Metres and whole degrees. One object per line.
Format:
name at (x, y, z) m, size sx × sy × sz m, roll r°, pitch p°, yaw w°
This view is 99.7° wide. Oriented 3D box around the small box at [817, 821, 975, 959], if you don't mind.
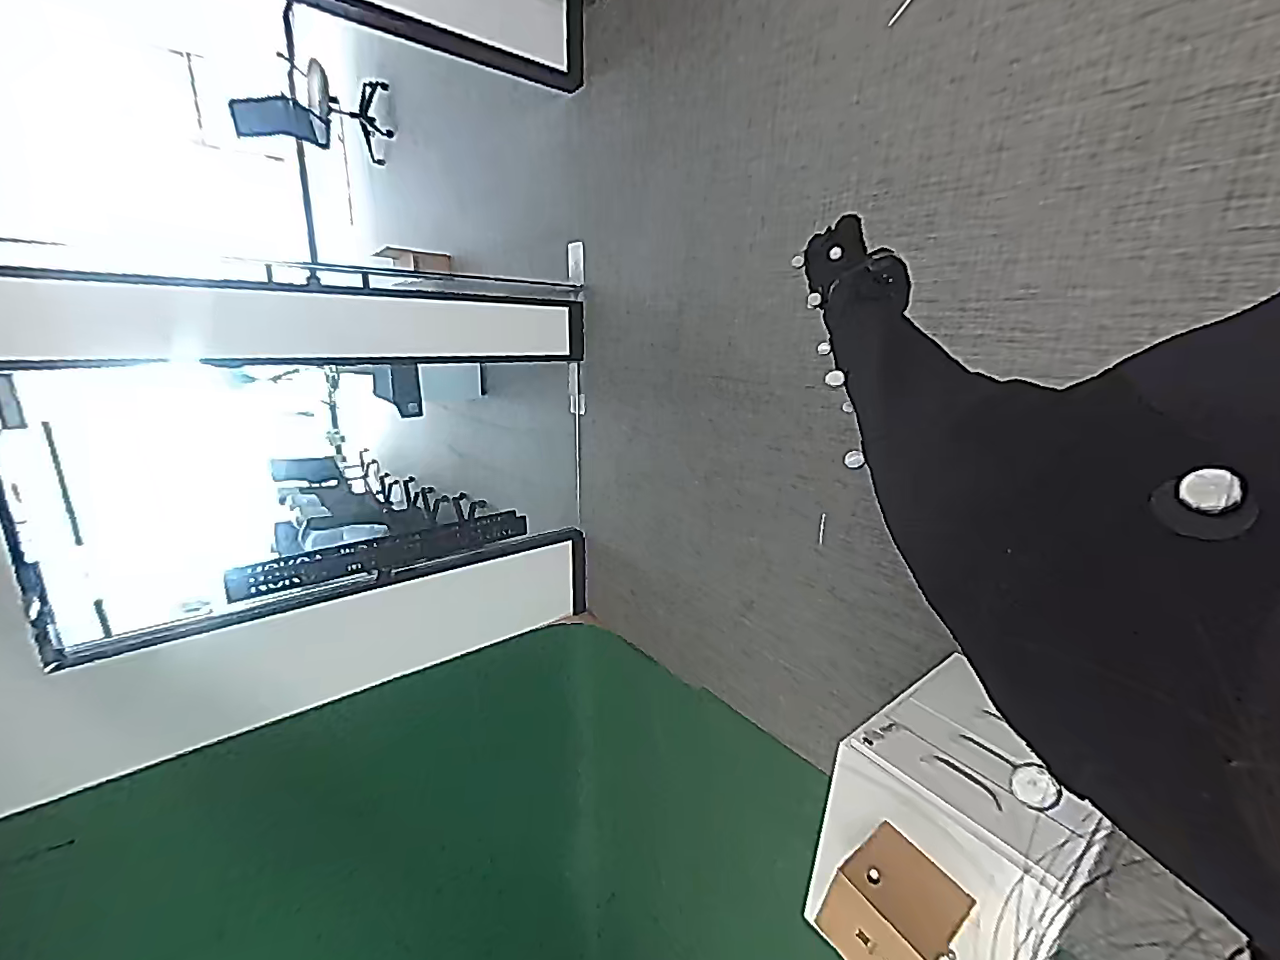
small box at (0.459, 0.761, 0.978) m, size 0.179 × 0.176 × 0.168 m, roll 33°, pitch 124°, yaw 44°
